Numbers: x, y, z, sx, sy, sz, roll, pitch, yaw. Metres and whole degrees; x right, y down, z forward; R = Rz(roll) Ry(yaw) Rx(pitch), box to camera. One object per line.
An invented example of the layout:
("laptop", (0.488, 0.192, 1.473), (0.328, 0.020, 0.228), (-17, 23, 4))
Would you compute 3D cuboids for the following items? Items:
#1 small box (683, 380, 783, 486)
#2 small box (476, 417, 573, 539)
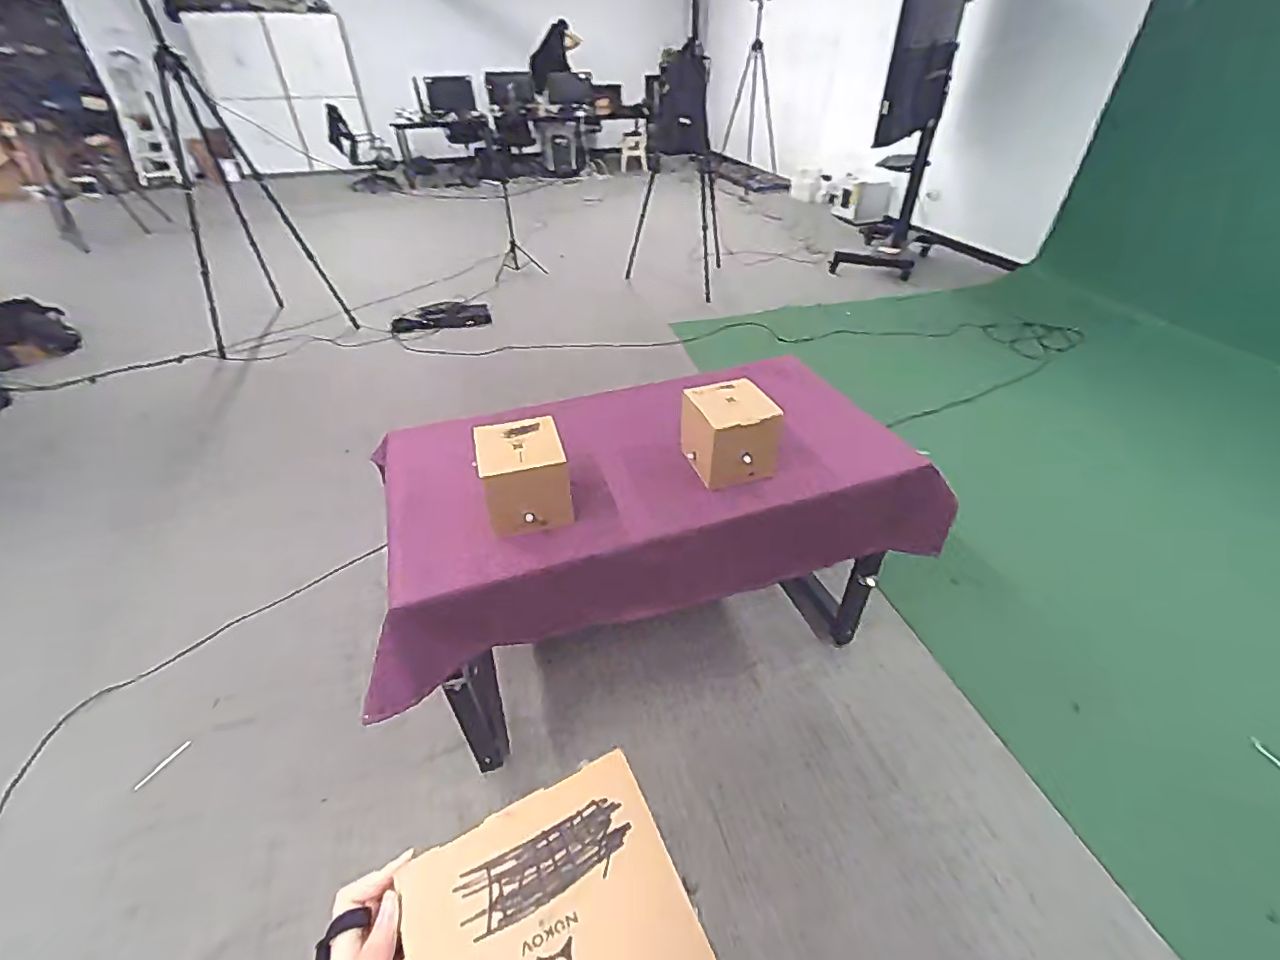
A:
("small box", (0.204, -0.102, 1.234), (0.168, 0.176, 0.179), (-12, 41, -14))
("small box", (-0.238, -0.005, 1.120), (0.168, 0.176, 0.179), (-11, 41, -13))
